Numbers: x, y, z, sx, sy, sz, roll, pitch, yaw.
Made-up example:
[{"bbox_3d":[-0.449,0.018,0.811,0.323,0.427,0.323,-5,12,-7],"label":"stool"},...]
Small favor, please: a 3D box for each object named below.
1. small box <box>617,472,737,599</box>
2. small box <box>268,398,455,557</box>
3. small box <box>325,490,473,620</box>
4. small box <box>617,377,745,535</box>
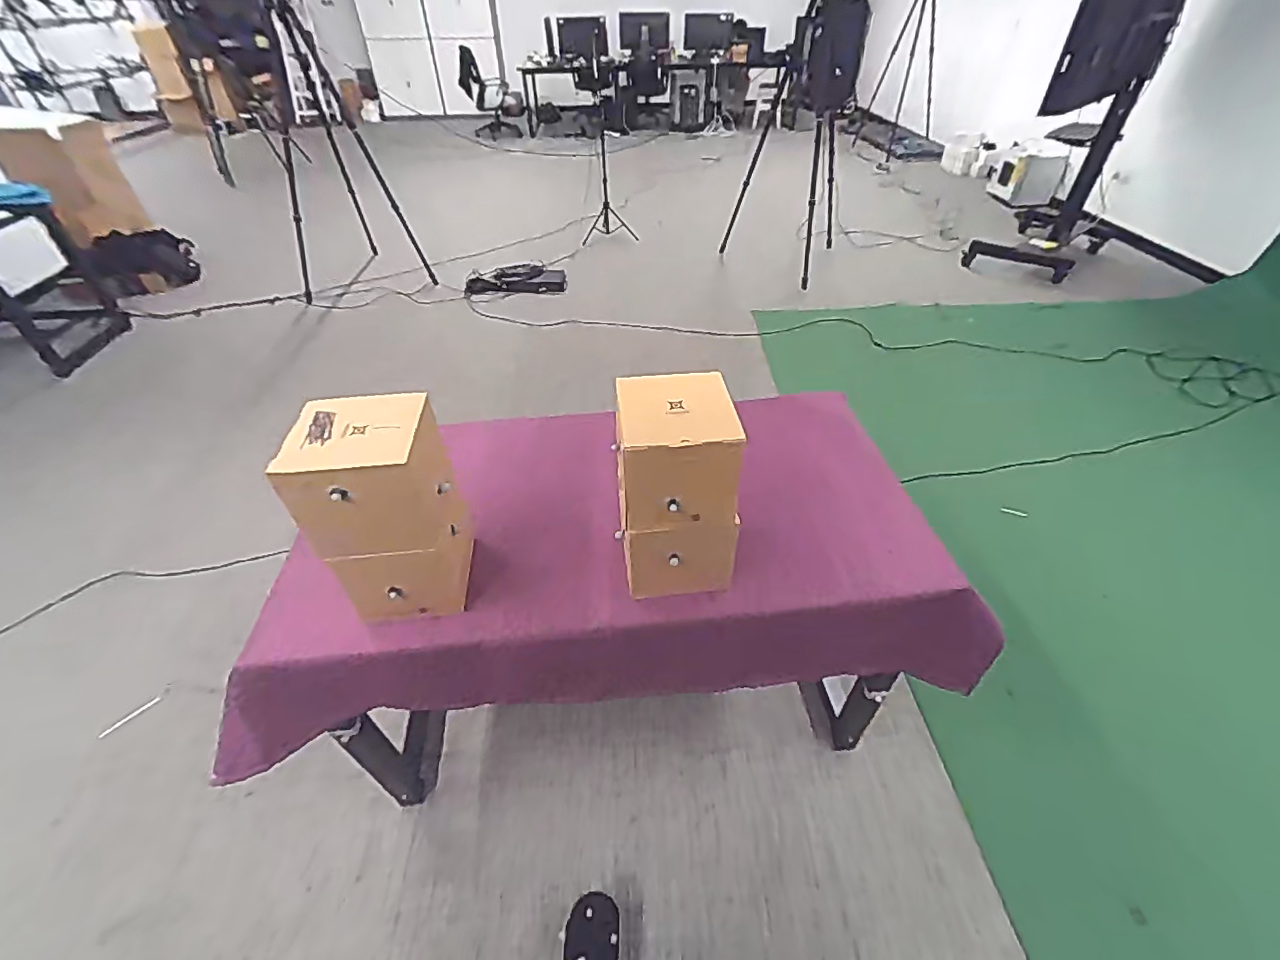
[{"bbox_3d":[0.059,0.088,0.931,0.179,0.176,0.168,-6,42,-4],"label":"small box"},{"bbox_3d":[-0.391,-0.002,0.797,0.179,0.176,0.168,-5,42,-5],"label":"small box"},{"bbox_3d":[-0.387,0.120,0.908,0.168,0.176,0.179,-4,42,-4],"label":"small box"},{"bbox_3d":[0.051,-0.038,0.827,0.168,0.176,0.179,-4,43,-4],"label":"small box"}]
